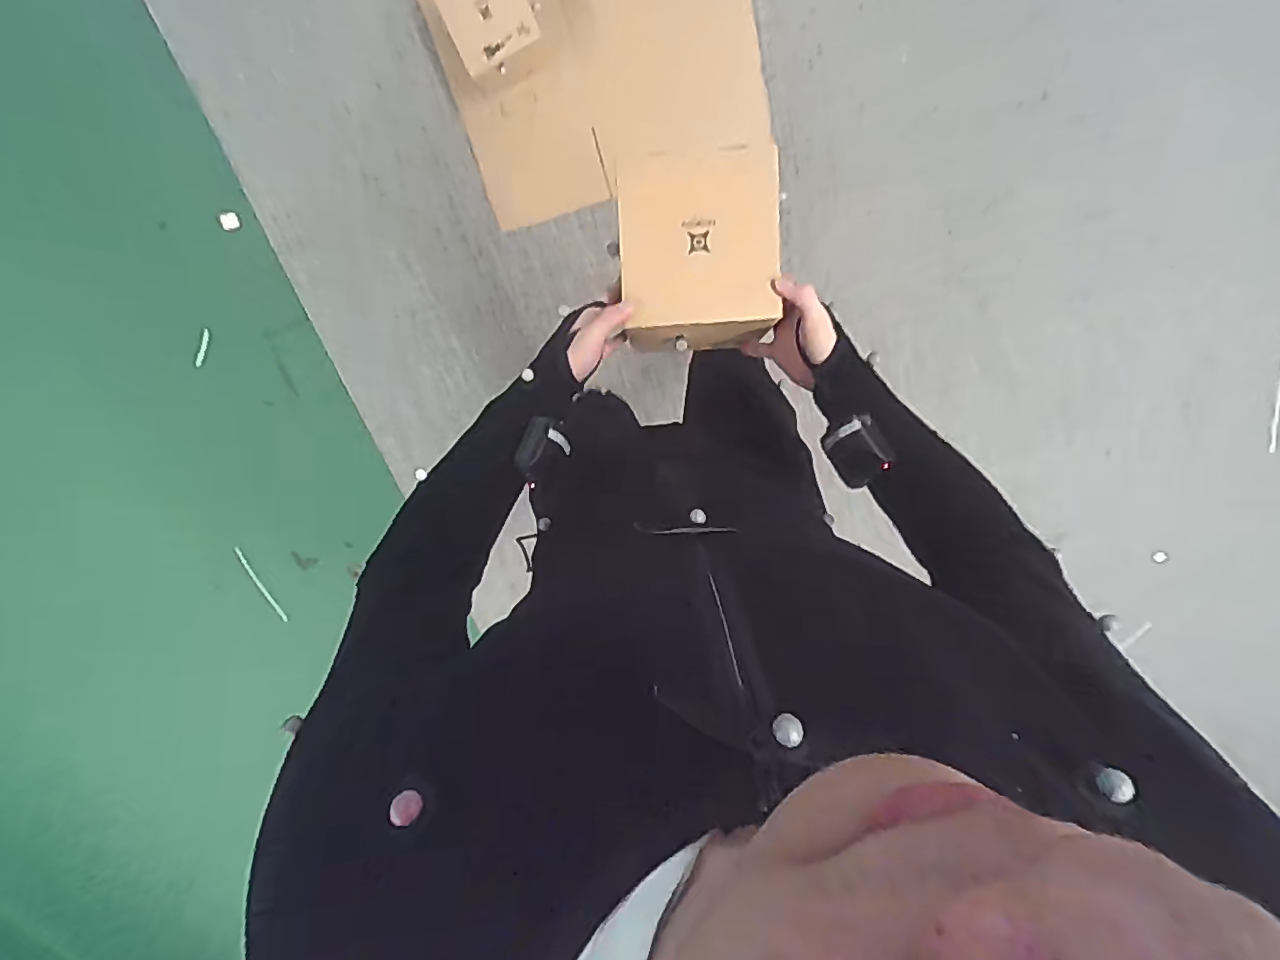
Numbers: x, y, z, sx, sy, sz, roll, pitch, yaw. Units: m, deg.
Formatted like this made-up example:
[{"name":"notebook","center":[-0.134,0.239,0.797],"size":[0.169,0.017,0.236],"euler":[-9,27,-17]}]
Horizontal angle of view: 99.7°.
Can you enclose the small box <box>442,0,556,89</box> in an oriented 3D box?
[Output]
[{"name":"small box","center":[-0.291,-0.953,1.112],"size":[0.168,0.176,0.179],"euler":[-21,112,11]}]

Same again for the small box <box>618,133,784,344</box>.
[{"name":"small box","center":[0.070,-0.258,0.625],"size":[0.168,0.176,0.179],"euler":[-3,93,5]}]
